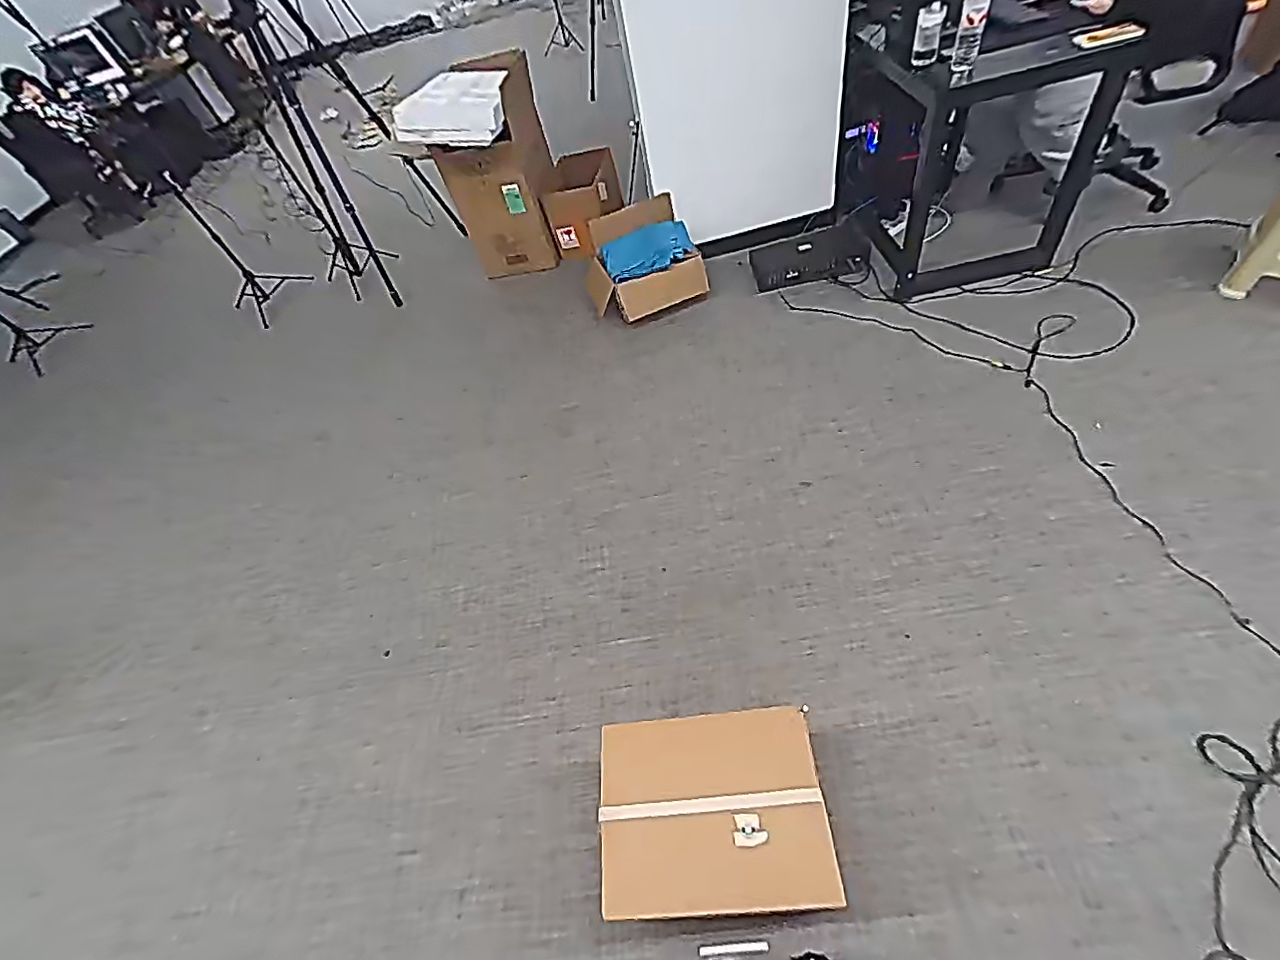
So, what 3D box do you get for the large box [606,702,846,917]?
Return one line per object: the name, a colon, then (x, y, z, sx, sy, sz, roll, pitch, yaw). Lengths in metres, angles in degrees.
large box: (0.160, 0.678, 1.101, 0.408, 0.320, 0.320, -9, 51, 7)
